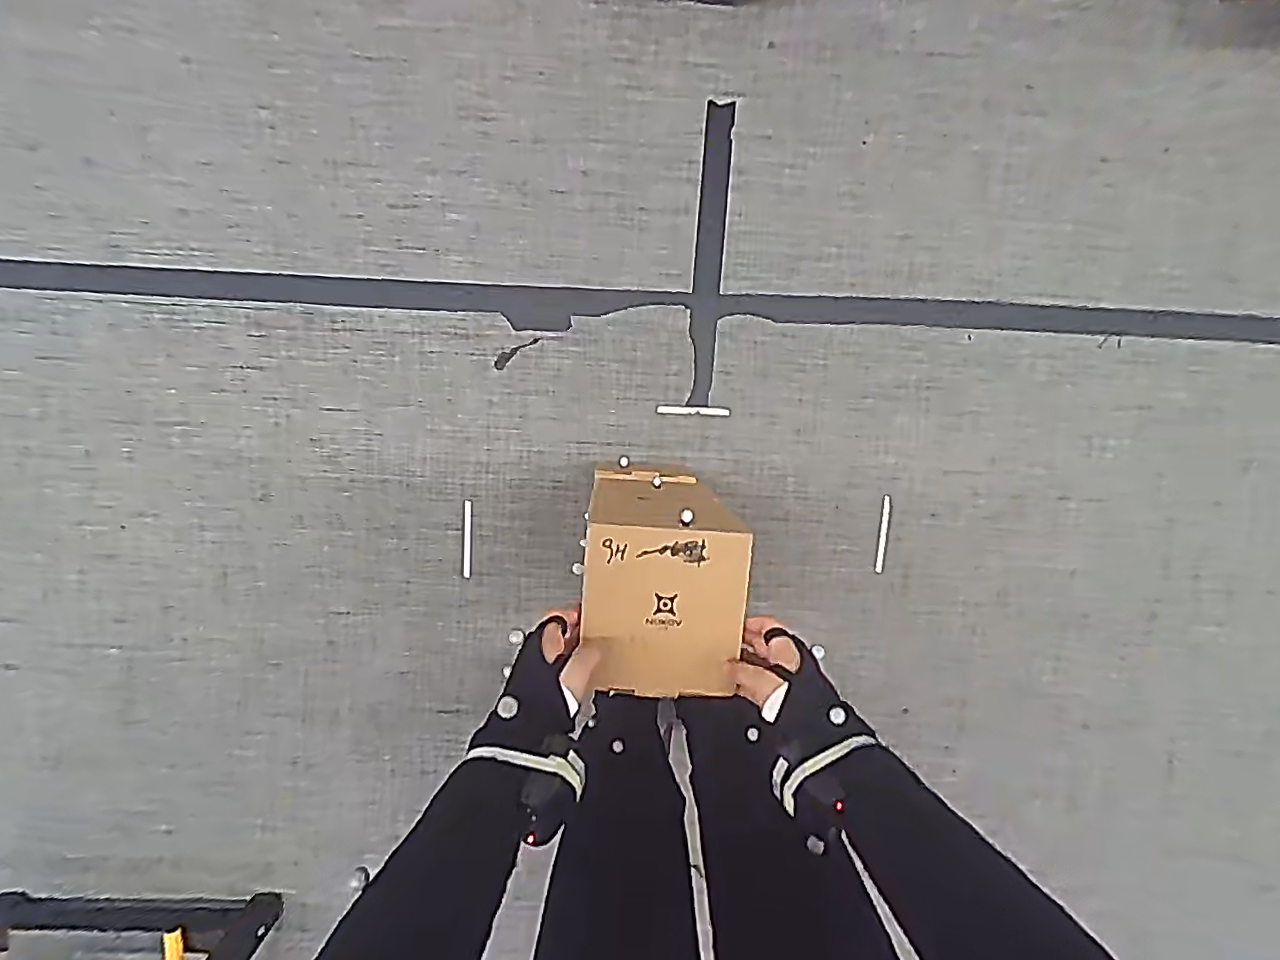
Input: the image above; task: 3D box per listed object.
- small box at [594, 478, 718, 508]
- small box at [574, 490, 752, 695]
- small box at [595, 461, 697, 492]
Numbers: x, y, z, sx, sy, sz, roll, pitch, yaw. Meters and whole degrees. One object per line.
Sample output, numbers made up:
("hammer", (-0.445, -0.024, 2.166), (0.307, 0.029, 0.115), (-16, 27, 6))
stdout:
("small box", (0.013, 0.093, 0.787), (0.168, 0.176, 0.179), (4, 98, -1))
("small box", (0.019, 0.118, 0.618), (0.168, 0.176, 0.179), (4, 99, -3))
("small box", (0.003, 0.062, 0.949), (0.168, 0.176, 0.179), (3, 99, -1))
